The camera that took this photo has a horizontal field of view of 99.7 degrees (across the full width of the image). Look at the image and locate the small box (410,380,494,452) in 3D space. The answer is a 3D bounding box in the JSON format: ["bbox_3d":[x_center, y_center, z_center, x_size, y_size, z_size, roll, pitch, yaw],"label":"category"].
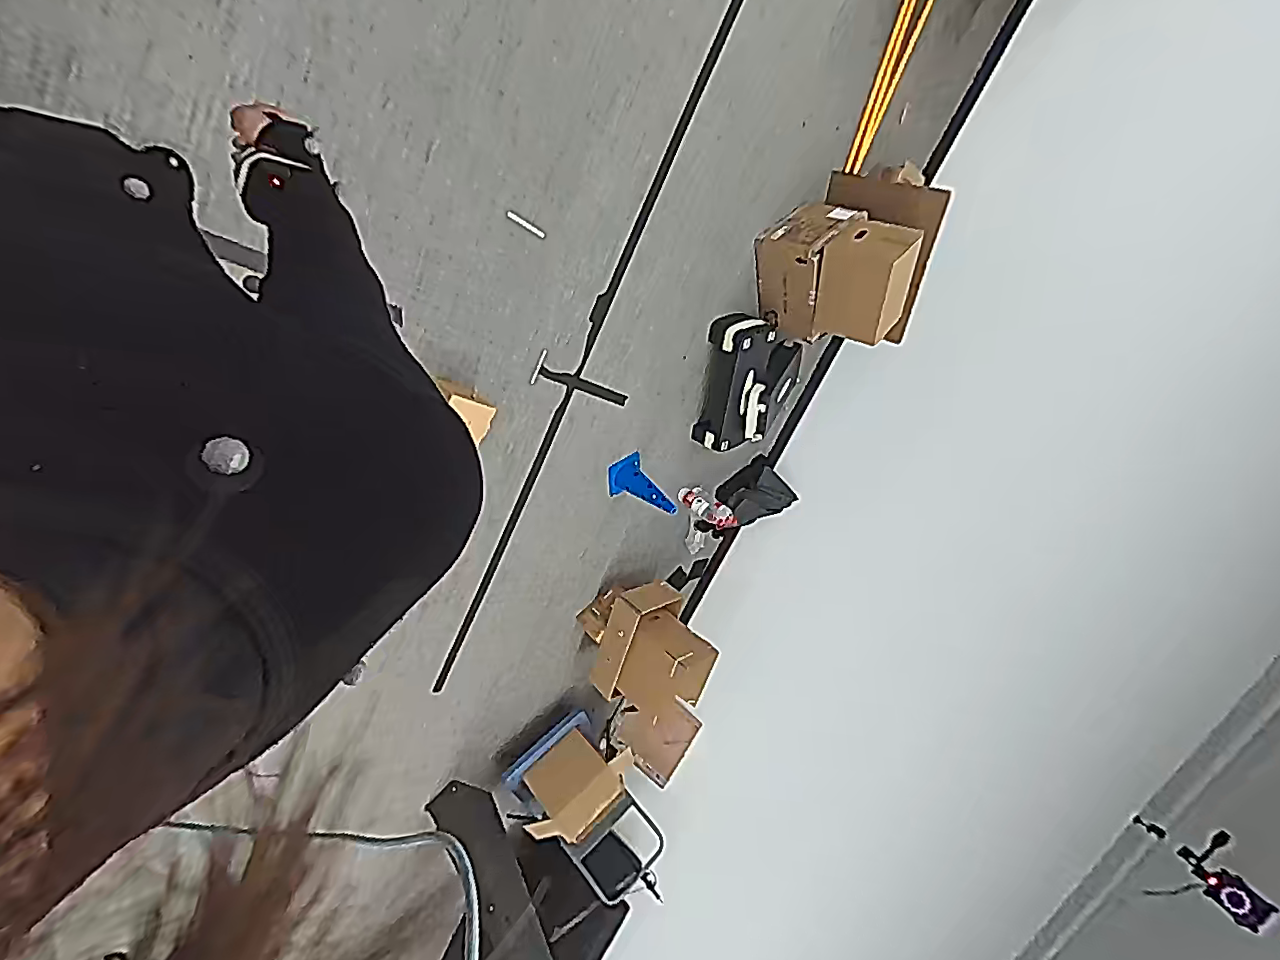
[{"bbox_3d":[-0.624,-0.214,1.781,0.179,0.176,0.168,15,106,-54],"label":"small box"}]
